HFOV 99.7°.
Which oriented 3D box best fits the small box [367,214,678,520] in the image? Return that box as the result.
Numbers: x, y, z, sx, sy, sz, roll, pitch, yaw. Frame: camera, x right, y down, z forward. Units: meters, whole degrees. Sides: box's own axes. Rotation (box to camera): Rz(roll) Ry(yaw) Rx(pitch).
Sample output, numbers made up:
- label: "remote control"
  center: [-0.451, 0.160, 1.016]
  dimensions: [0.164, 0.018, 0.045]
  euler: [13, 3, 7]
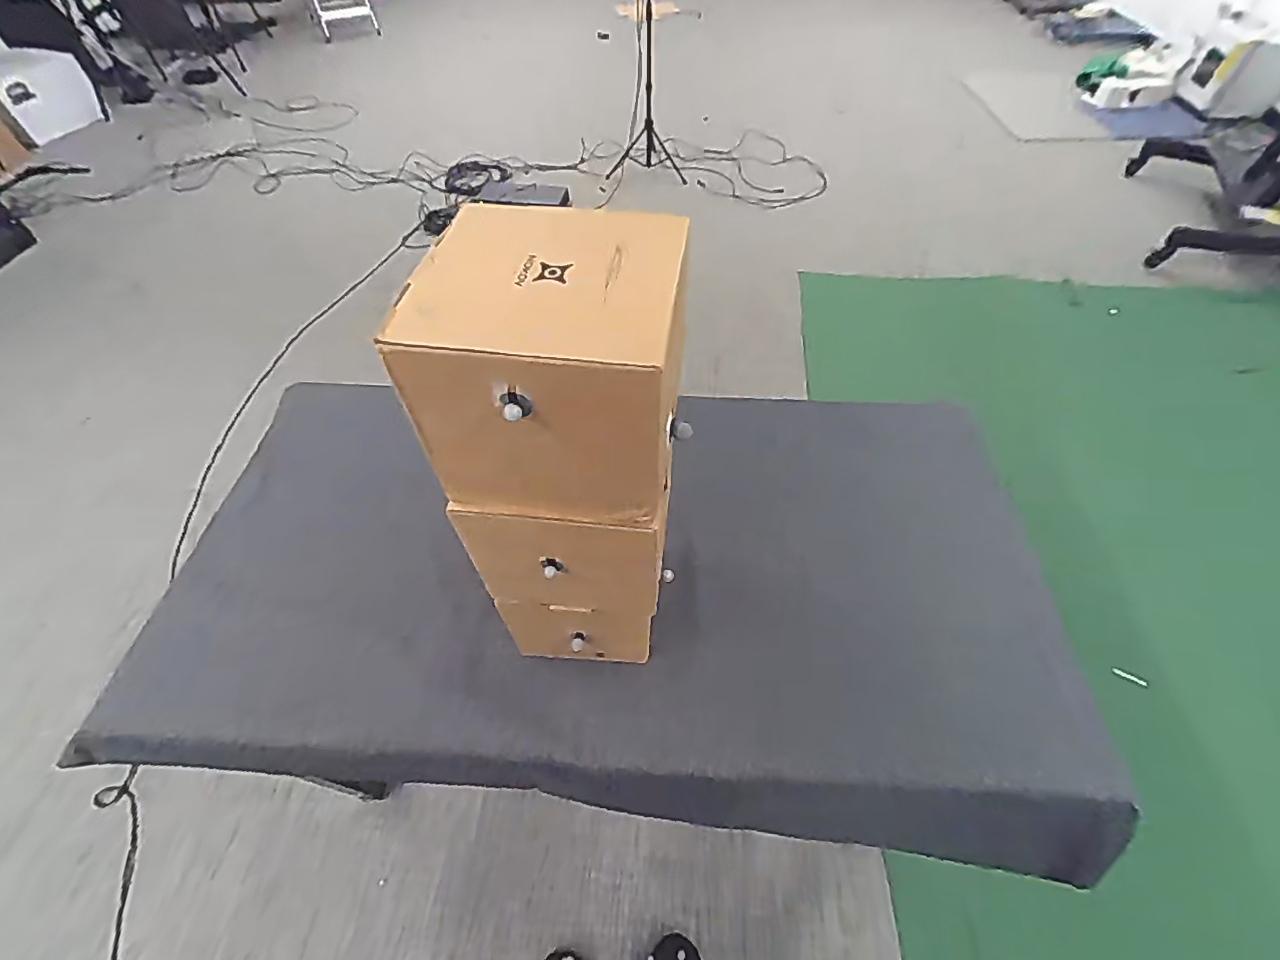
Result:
- label: "small box"
  center: [-0.066, -0.083, 0.423]
  dimensions: [0.179, 0.176, 0.168]
  euler: [5, 54, 5]

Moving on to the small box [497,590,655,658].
- label: "small box"
  center: [-0.065, 0.115, 0.683]
  dimensions: [0.168, 0.176, 0.179]
  euler: [1, 53, 3]

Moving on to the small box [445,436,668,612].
- label: "small box"
  center: [-0.063, 0.021, 0.547]
  dimensions: [0.179, 0.176, 0.168]
  euler: [3, 52, 6]
